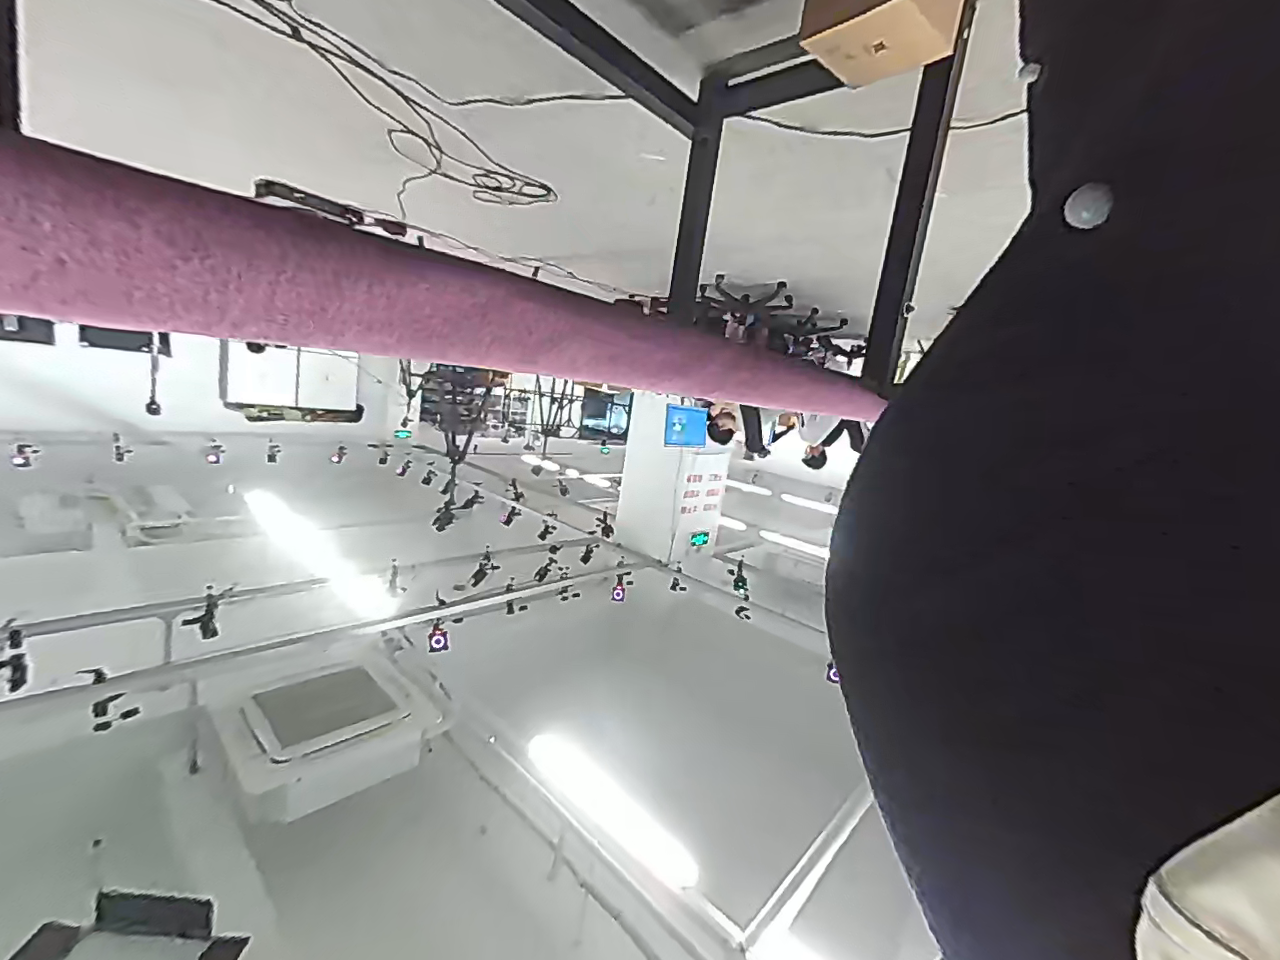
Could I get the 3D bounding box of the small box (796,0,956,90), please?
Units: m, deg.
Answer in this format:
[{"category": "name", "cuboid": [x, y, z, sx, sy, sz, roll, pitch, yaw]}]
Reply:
[{"category": "small box", "cuboid": [0.368, -0.749, 0.825, 0.168, 0.176, 0.179, 0, -167, -40]}]
